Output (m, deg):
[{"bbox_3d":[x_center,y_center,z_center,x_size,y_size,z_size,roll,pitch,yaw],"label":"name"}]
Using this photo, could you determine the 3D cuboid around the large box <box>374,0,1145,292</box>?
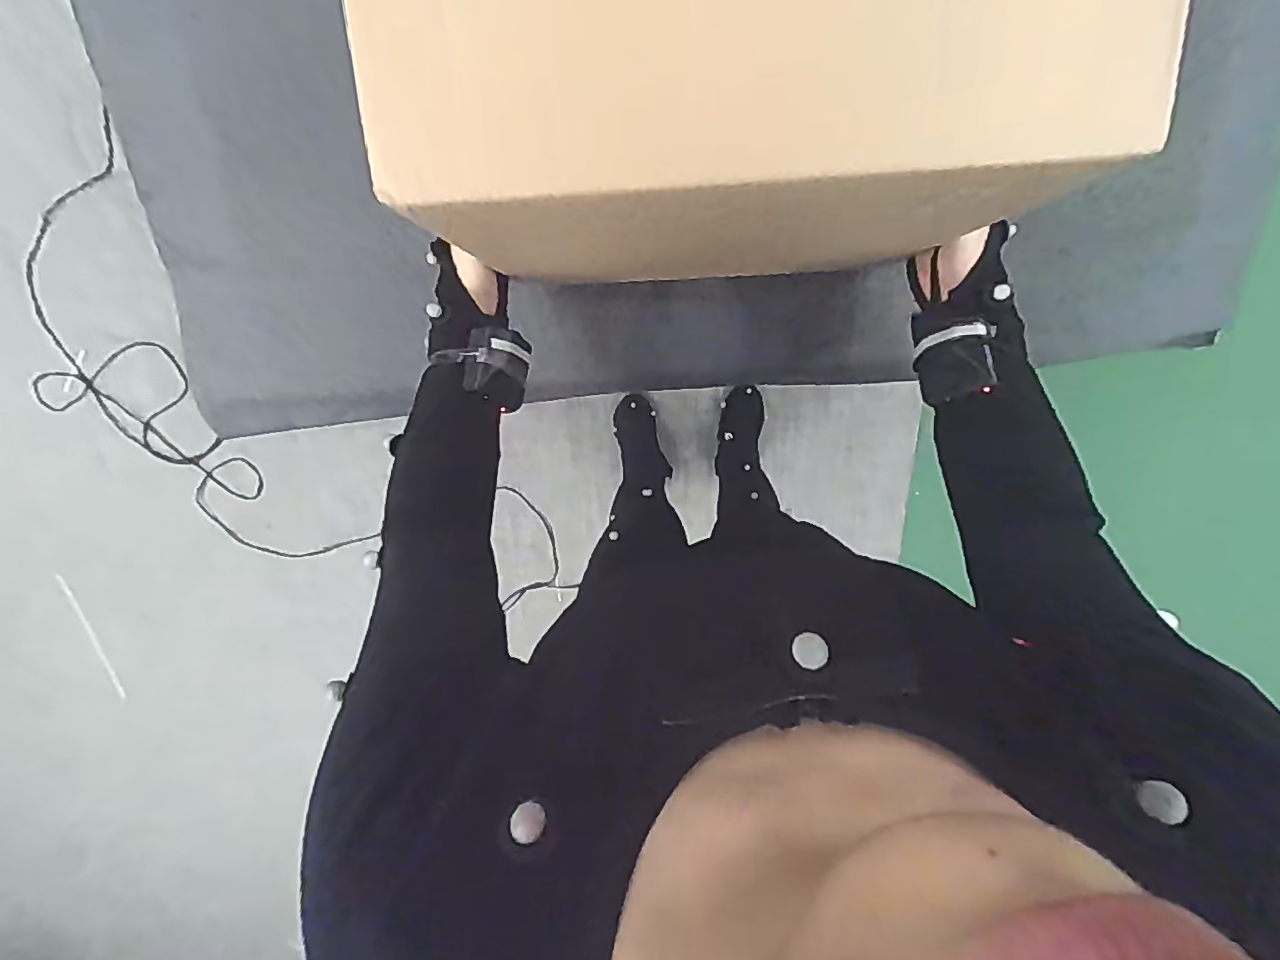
[{"bbox_3d":[0.056,-0.342,0.415,0.408,0.320,0.320,-3,101,2],"label":"large box"}]
